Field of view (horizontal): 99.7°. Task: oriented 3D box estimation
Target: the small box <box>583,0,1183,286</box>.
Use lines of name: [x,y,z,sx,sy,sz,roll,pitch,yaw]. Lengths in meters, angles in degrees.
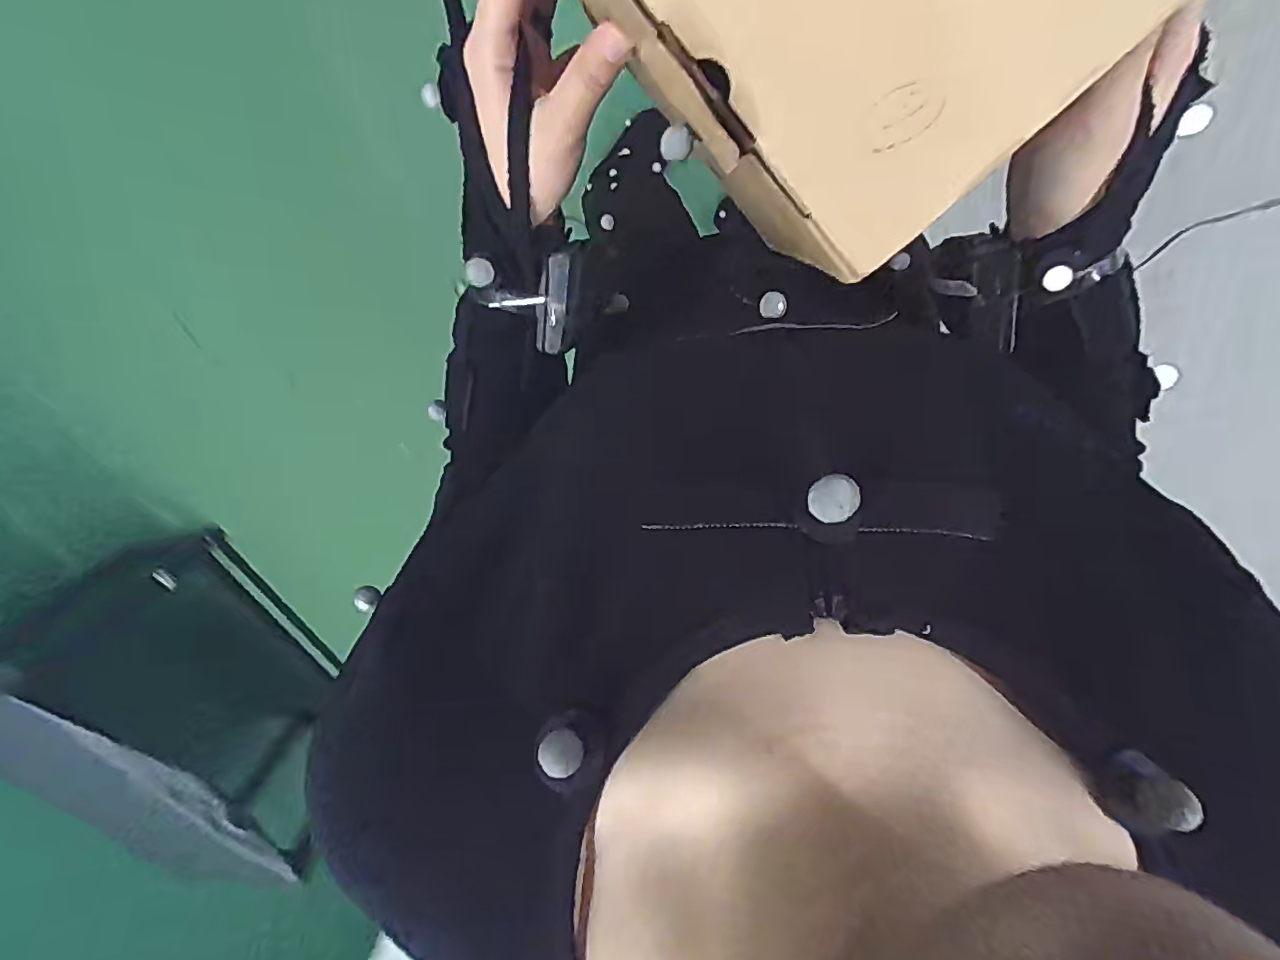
small box: [0.085,-0.213,0.224,0.179,0.176,0.168,-40,109,22]
